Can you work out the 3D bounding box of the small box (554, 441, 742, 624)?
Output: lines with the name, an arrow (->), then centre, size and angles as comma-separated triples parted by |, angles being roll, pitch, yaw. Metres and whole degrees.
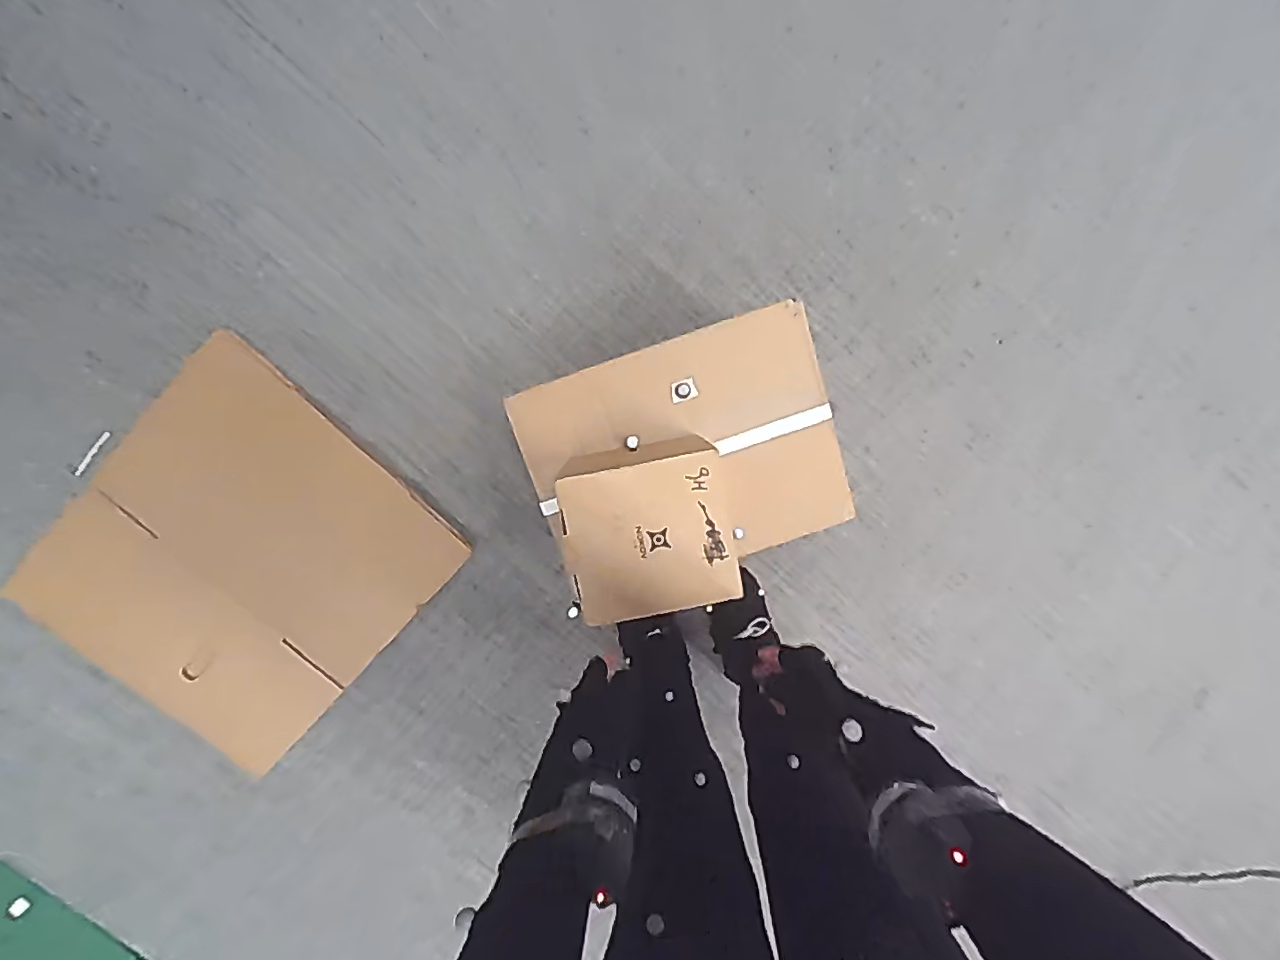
small box -> 0.010, 0.052, 0.660 | 0.179, 0.176, 0.168 | -14, 98, 1
